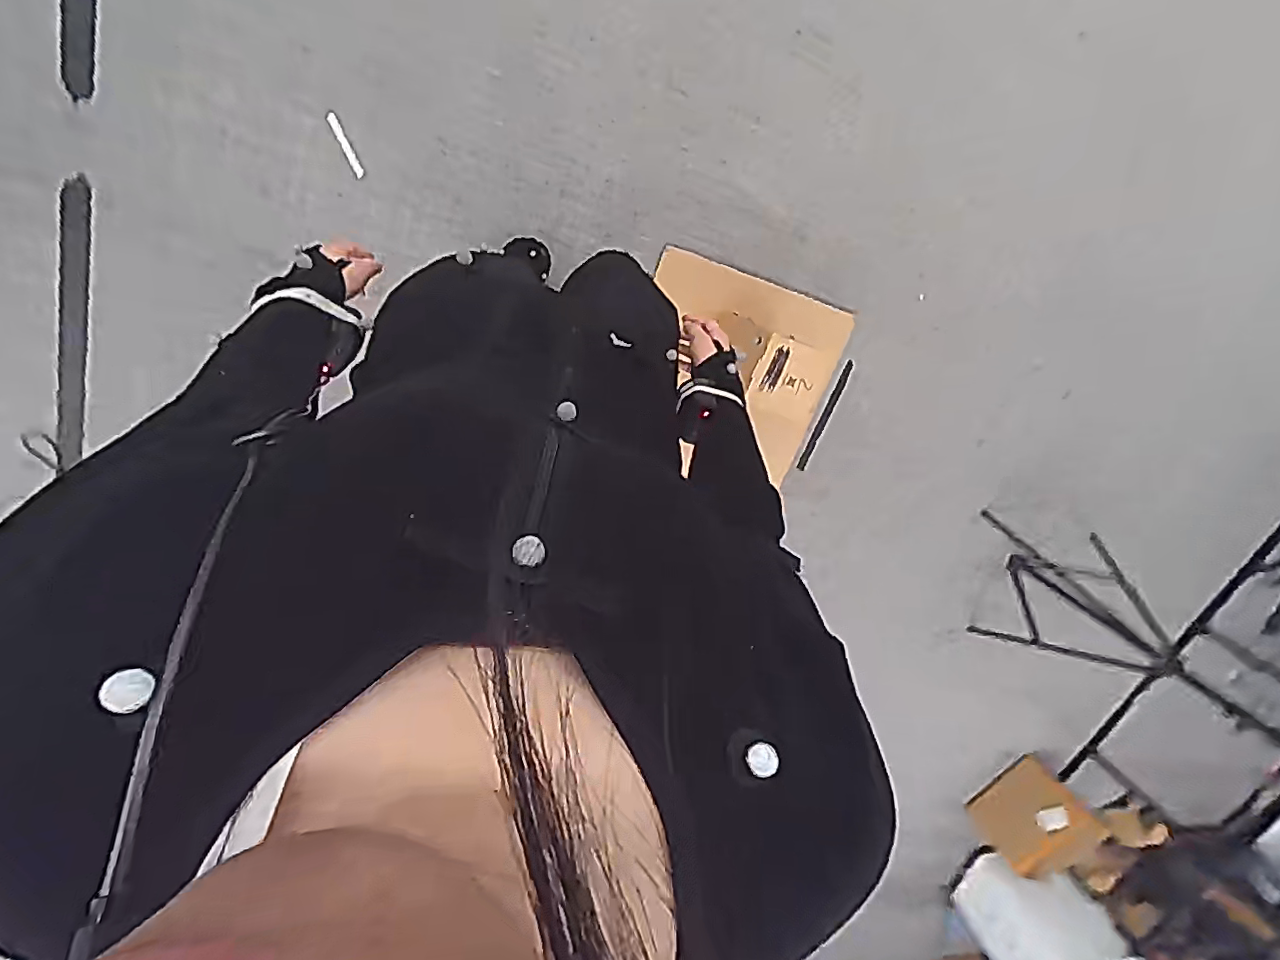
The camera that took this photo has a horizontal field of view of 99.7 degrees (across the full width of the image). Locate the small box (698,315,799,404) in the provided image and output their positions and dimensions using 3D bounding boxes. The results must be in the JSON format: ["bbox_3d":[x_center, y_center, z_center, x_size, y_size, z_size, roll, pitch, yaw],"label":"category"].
[{"bbox_3d":[0.278,-0.326,1.434,0.179,0.176,0.168,17,112,-21],"label":"small box"}]
